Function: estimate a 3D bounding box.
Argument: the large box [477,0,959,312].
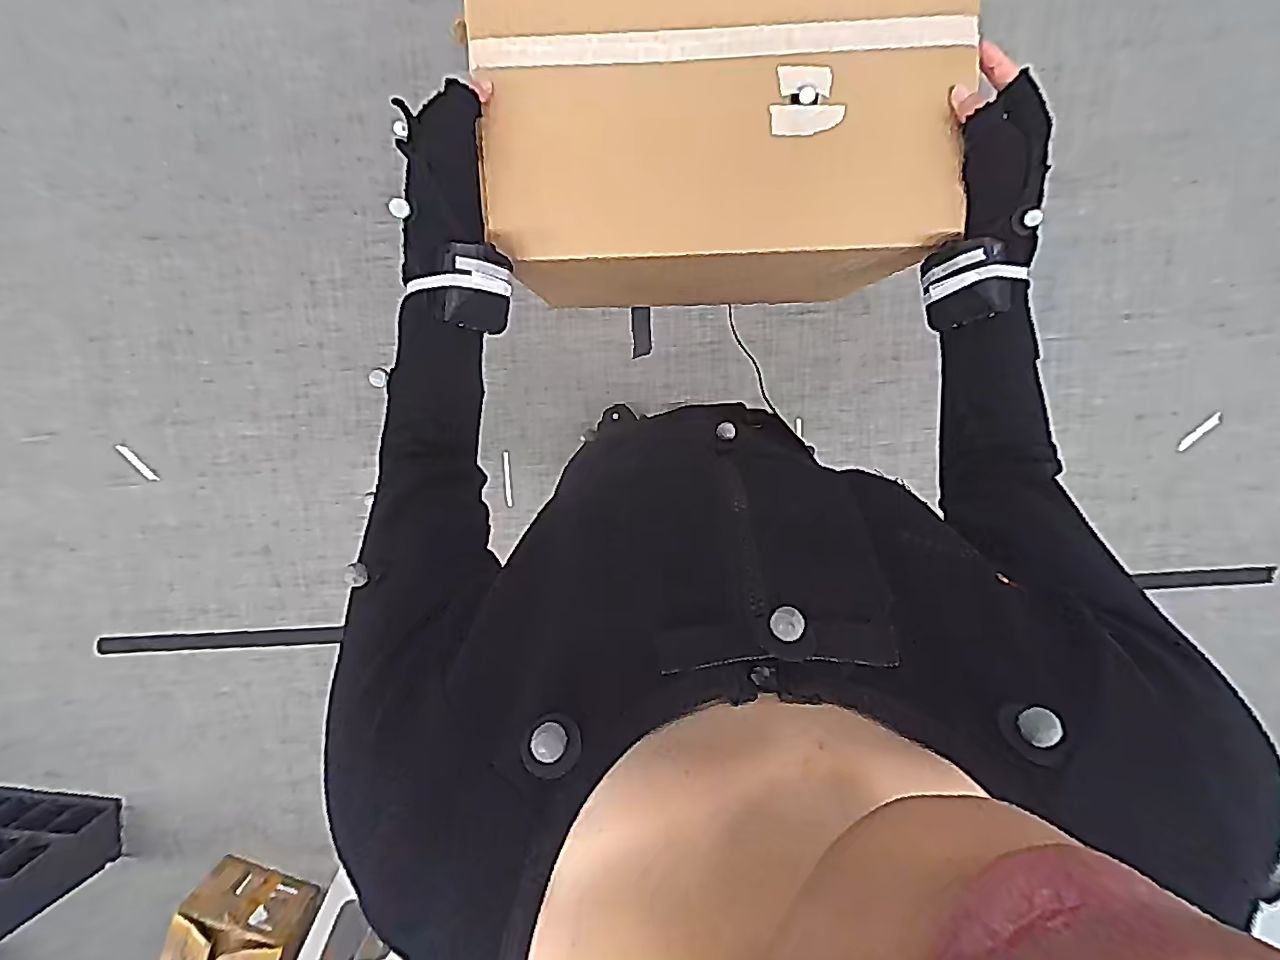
[{"bbox_3d":[0.064,-0.376,0.599,0.408,0.320,0.320,-2,100,1],"label":"large box"}]
